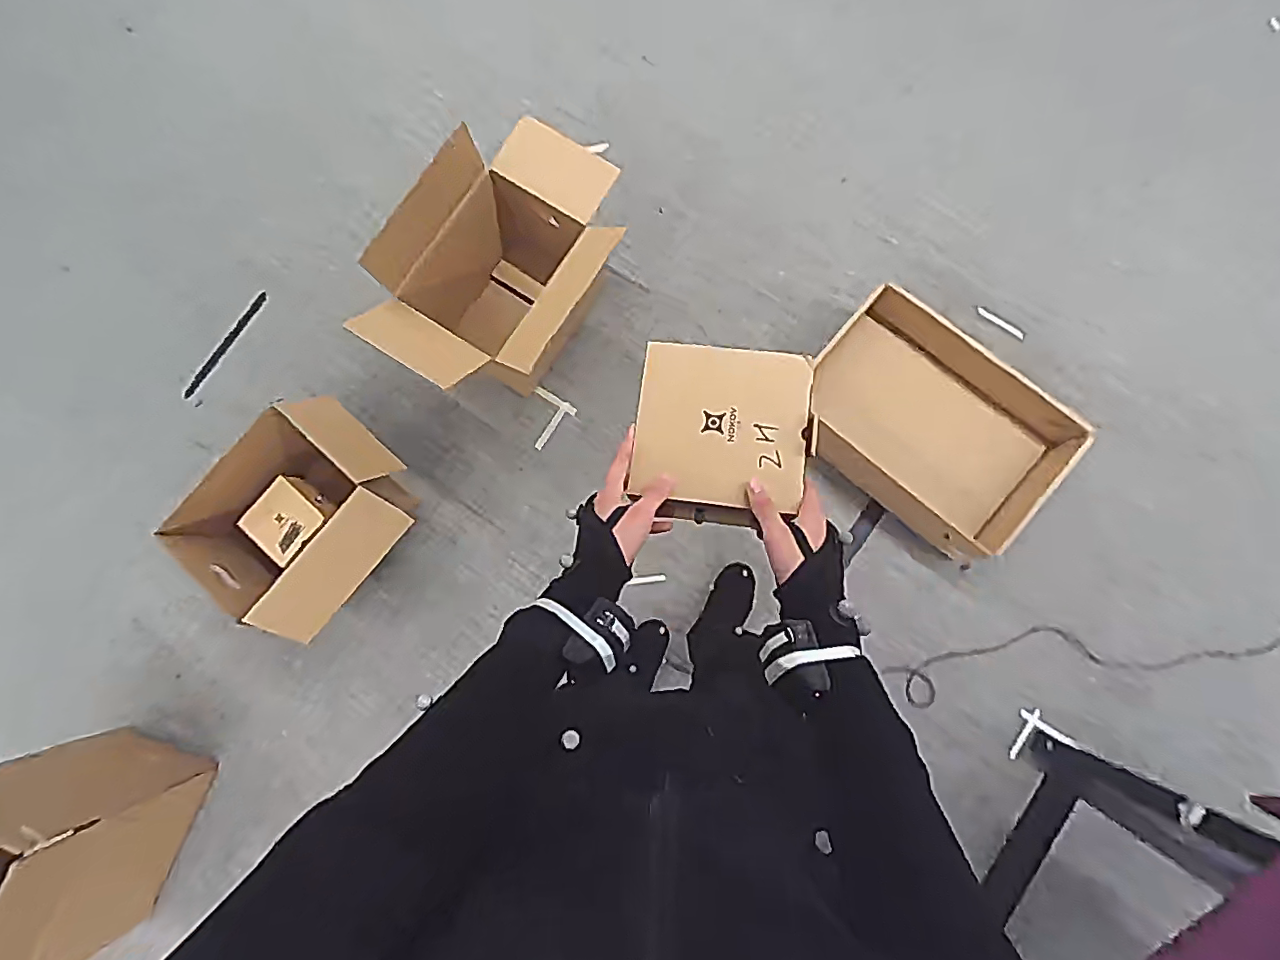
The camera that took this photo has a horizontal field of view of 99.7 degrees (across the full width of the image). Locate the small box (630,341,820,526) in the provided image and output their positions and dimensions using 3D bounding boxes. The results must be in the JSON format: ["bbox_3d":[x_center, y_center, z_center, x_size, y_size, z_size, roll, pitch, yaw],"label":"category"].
[{"bbox_3d":[0.093,-0.043,0.622,0.179,0.176,0.168,7,81,5],"label":"small box"}]
